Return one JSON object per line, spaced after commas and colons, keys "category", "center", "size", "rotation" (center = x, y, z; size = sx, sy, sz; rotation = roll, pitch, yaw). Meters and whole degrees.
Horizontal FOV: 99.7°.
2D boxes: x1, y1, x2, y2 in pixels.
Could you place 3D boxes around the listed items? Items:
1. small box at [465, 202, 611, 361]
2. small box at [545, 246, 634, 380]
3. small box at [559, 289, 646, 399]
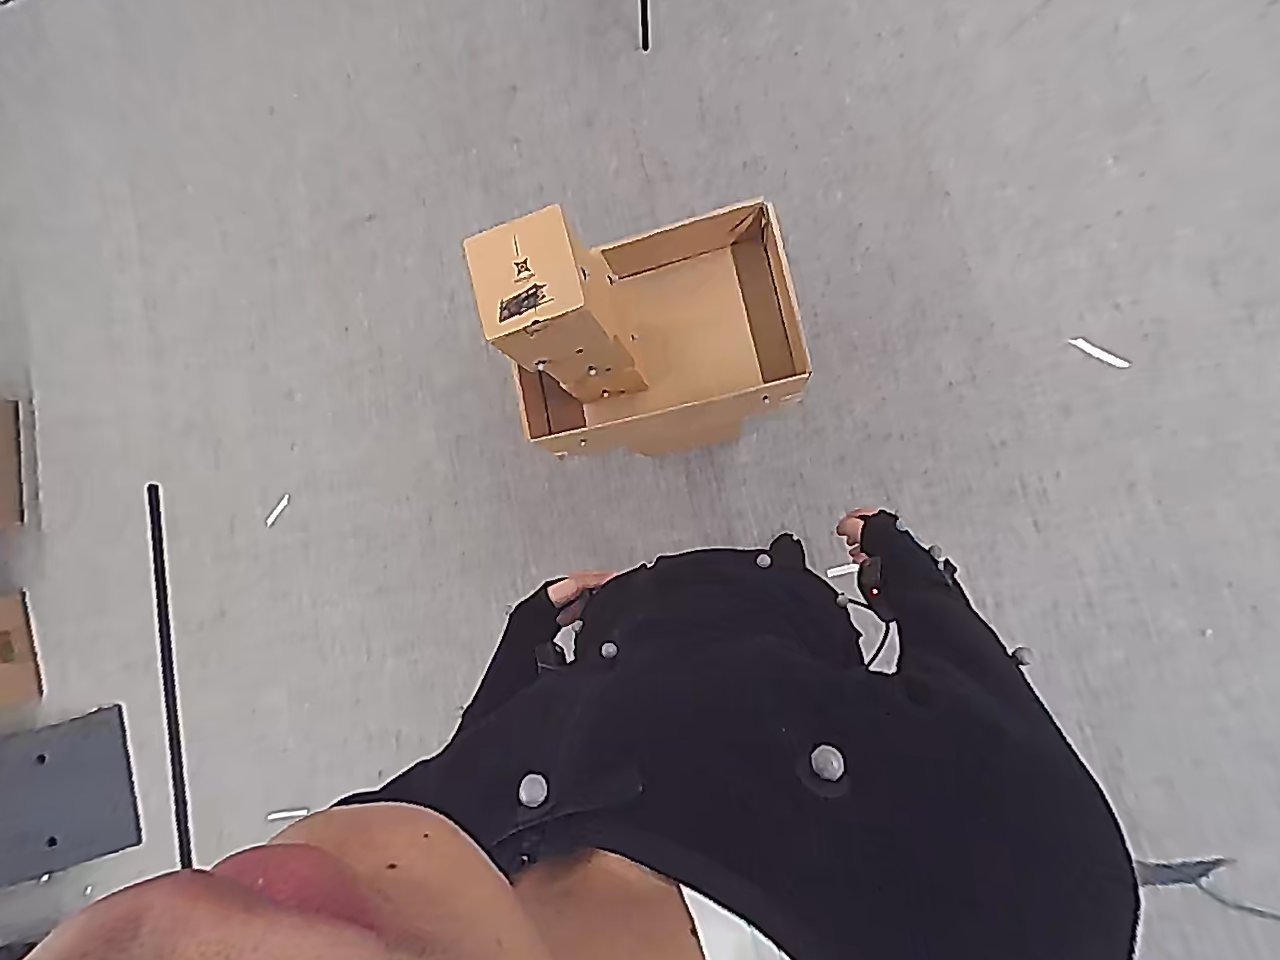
{"category": "small box", "center": [-0.159, -0.311, 0.897], "size": [0.168, 0.176, 0.179], "rotation": [-16, 82, 9]}
{"category": "small box", "center": [-0.119, -0.316, 1.057], "size": [0.168, 0.176, 0.179], "rotation": [-14, 84, 10]}
{"category": "small box", "center": [-0.091, -0.299, 1.219], "size": [0.168, 0.176, 0.179], "rotation": [-13, 83, 10]}
